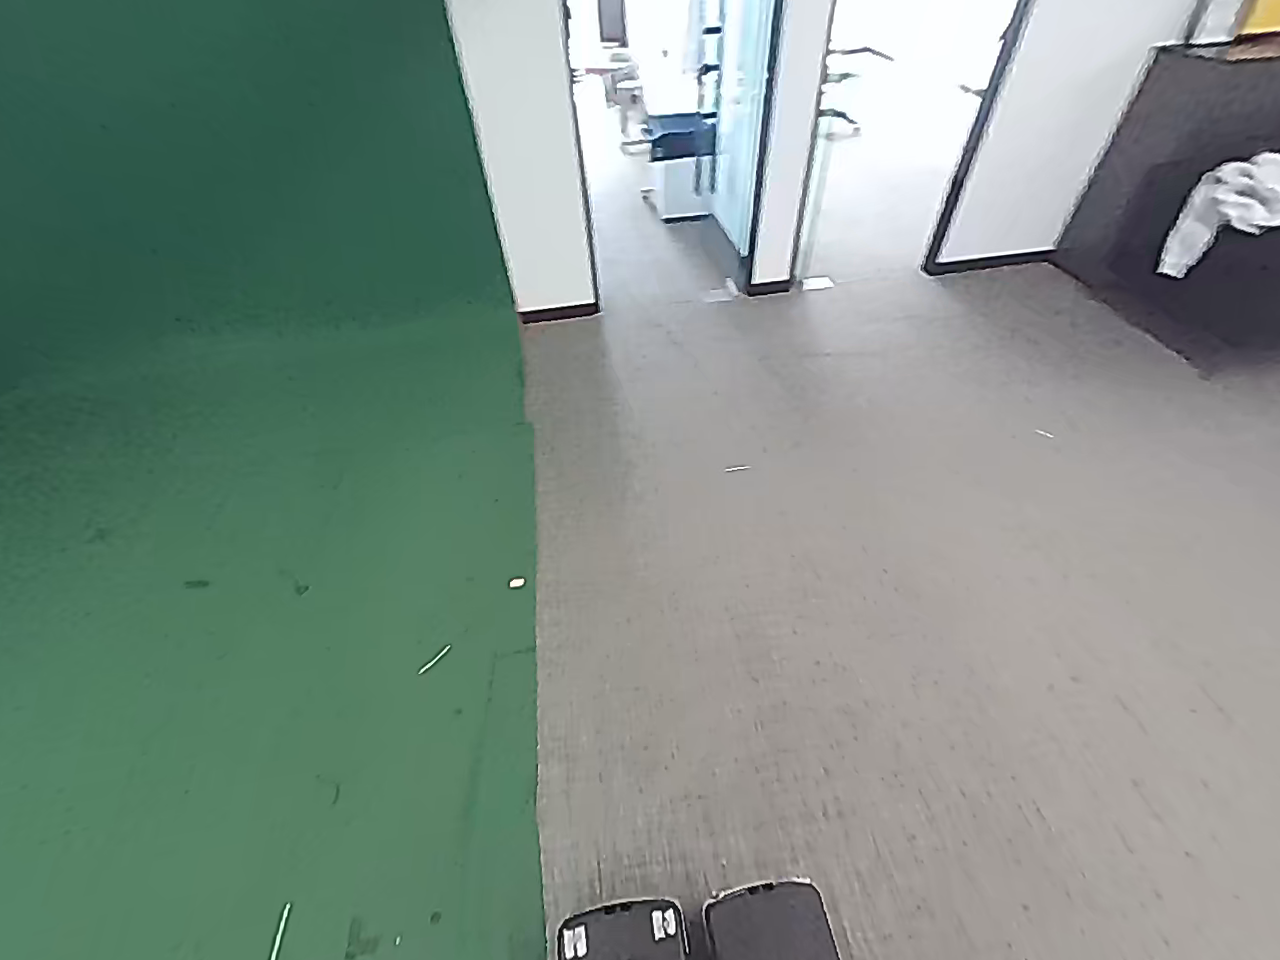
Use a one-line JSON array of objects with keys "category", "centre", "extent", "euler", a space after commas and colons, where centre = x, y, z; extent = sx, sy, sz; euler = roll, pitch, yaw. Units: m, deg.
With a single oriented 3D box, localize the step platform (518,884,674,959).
[{"category": "step platform", "centre": [-0.038, 1.097, 0.883], "extent": [0.286, 0.204, 0.684], "euler": [-7, 48, -5]}]
